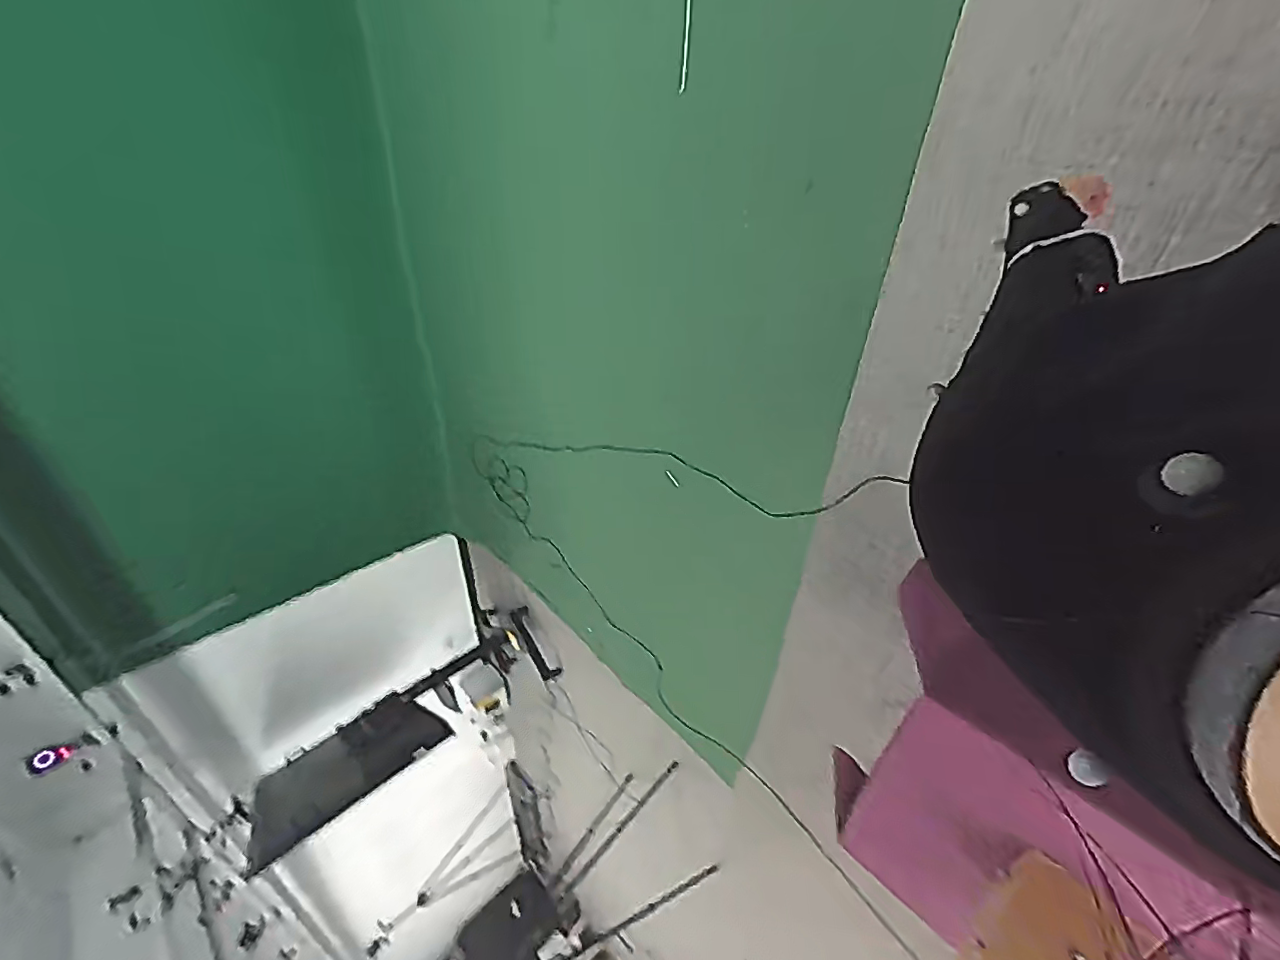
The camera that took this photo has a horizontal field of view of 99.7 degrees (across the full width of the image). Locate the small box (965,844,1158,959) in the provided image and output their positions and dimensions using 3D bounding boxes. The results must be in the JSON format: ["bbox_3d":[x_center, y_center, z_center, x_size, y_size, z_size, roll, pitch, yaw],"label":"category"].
[{"bbox_3d":[0.668,0.739,0.861,0.179,0.176,0.168,34,135,36],"label":"small box"}]
